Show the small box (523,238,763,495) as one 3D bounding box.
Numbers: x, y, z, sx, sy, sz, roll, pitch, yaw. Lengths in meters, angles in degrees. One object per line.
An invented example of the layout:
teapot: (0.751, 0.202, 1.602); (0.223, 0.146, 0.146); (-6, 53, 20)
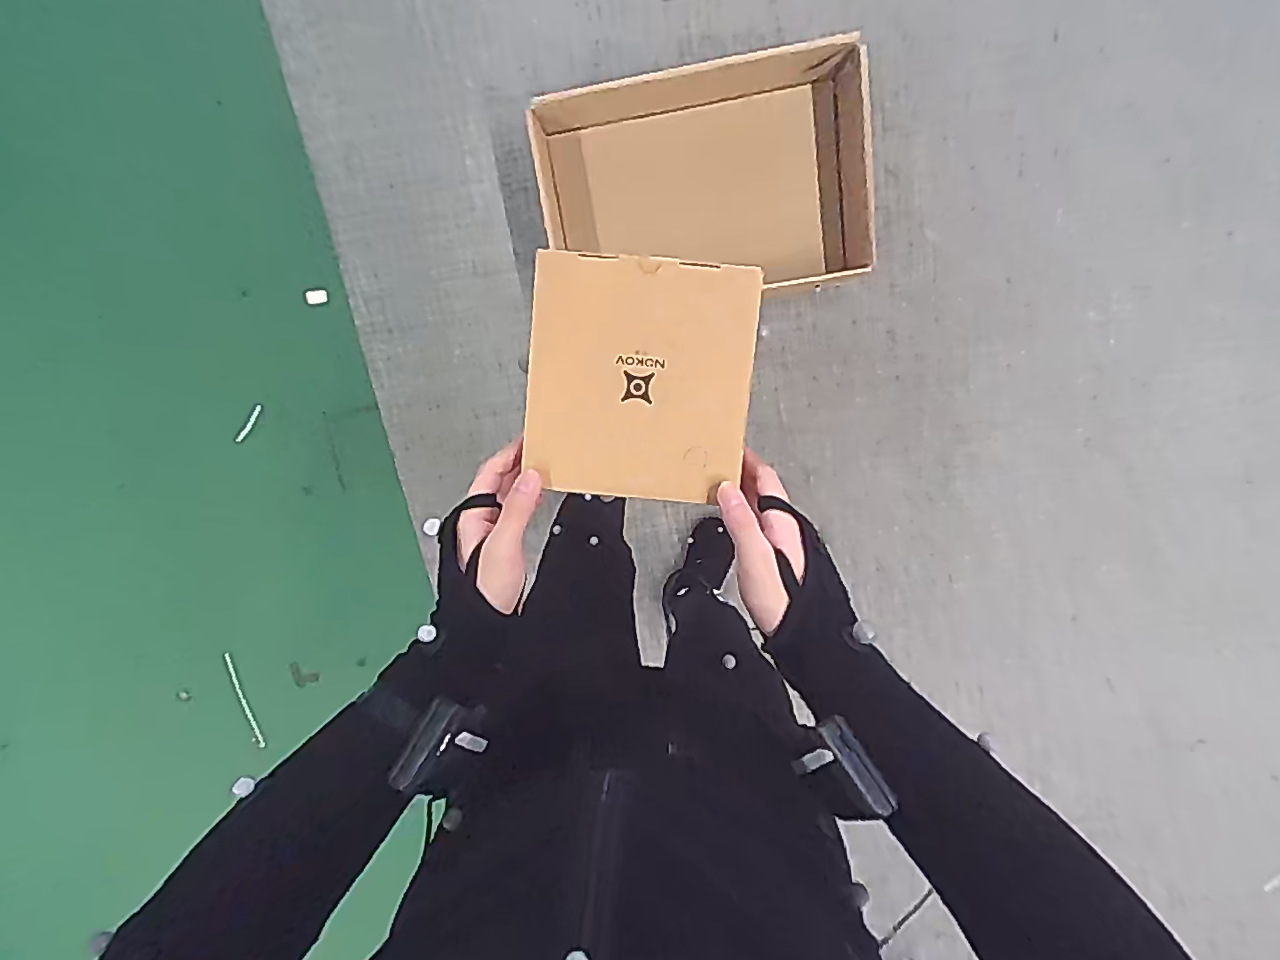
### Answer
small box: (0.004, -0.089, 0.476); (0.168, 0.176, 0.179); (5, 94, 2)
